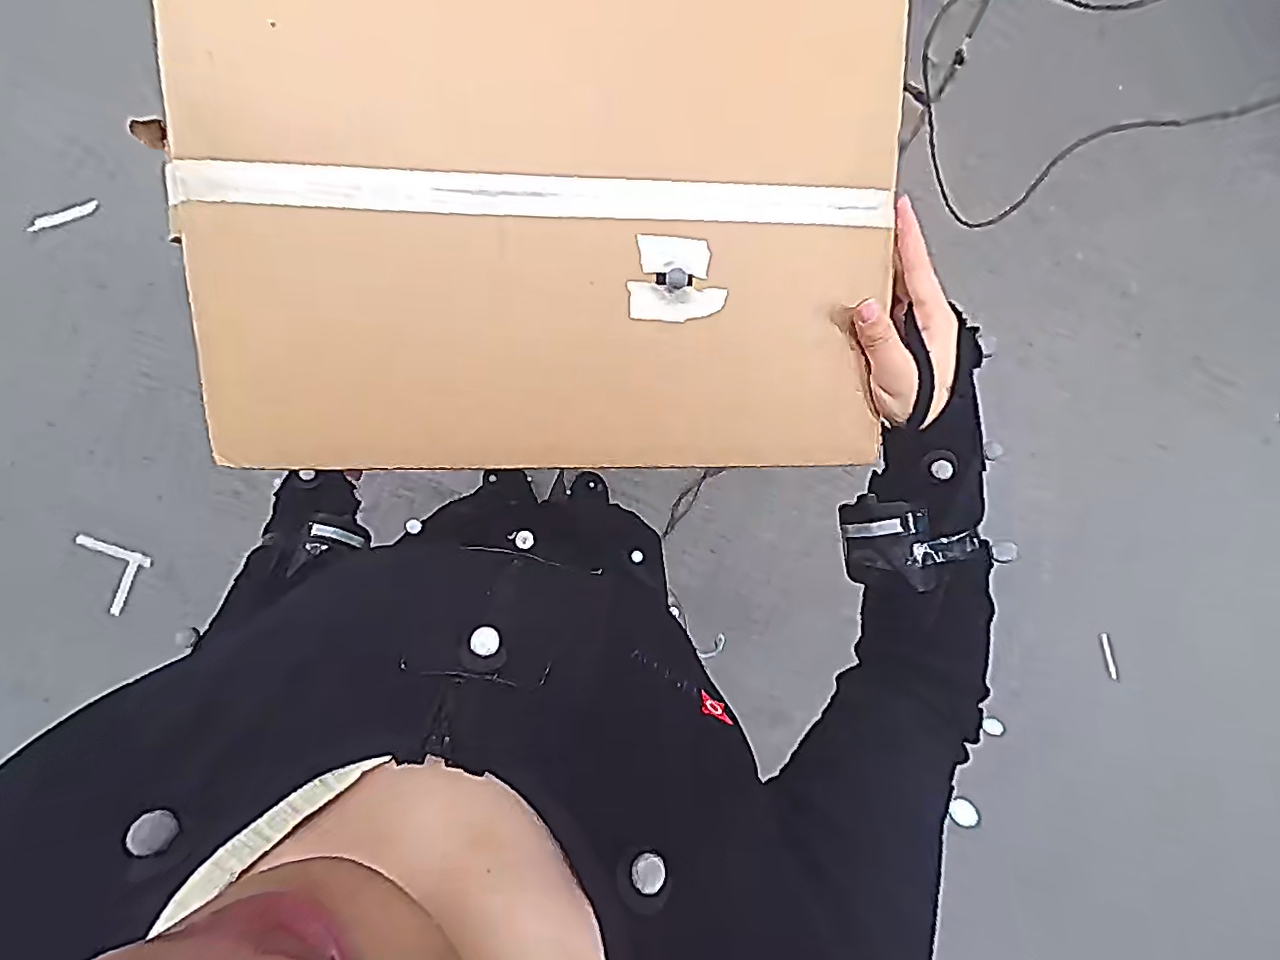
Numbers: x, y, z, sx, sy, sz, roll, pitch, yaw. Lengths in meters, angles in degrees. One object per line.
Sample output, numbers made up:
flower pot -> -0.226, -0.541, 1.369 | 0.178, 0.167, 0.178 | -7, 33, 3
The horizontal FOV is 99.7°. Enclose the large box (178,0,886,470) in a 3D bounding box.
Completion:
large box -> -0.065, -0.188, 0.468 | 0.408, 0.320, 0.320 | -1, 100, -7
